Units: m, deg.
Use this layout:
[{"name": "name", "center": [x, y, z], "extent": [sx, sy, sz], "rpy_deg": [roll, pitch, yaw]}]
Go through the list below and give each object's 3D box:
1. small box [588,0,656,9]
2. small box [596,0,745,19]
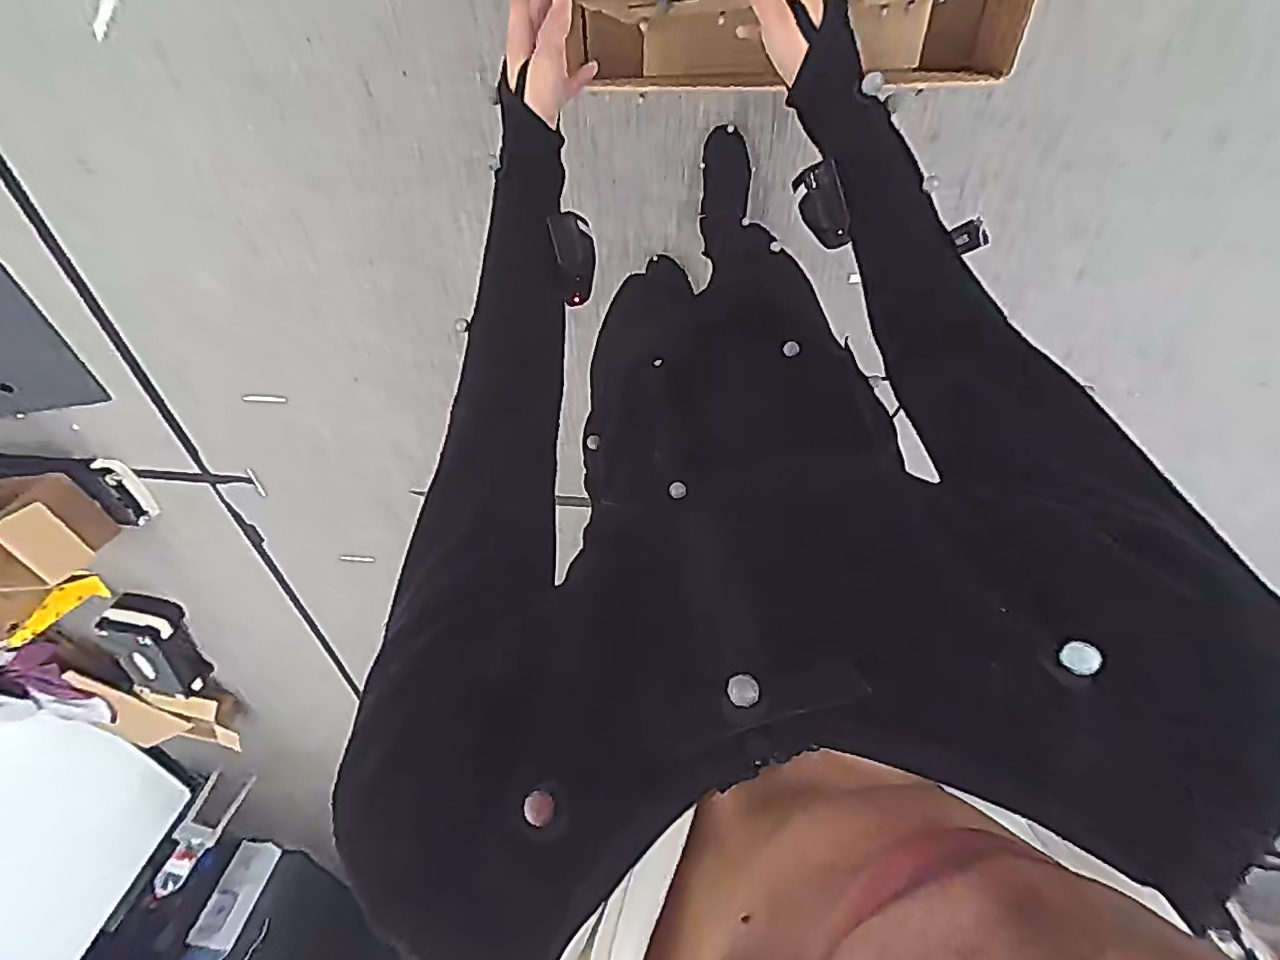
[{"name": "small box", "center": [0.007, -0.518, 0.442], "extent": [0.168, 0.176, 0.179], "rpy_deg": [-1, 127, 9]}, {"name": "small box", "center": [0.038, -0.613, 0.575], "extent": [0.168, 0.176, 0.179], "rpy_deg": [0, 127, 8]}]
